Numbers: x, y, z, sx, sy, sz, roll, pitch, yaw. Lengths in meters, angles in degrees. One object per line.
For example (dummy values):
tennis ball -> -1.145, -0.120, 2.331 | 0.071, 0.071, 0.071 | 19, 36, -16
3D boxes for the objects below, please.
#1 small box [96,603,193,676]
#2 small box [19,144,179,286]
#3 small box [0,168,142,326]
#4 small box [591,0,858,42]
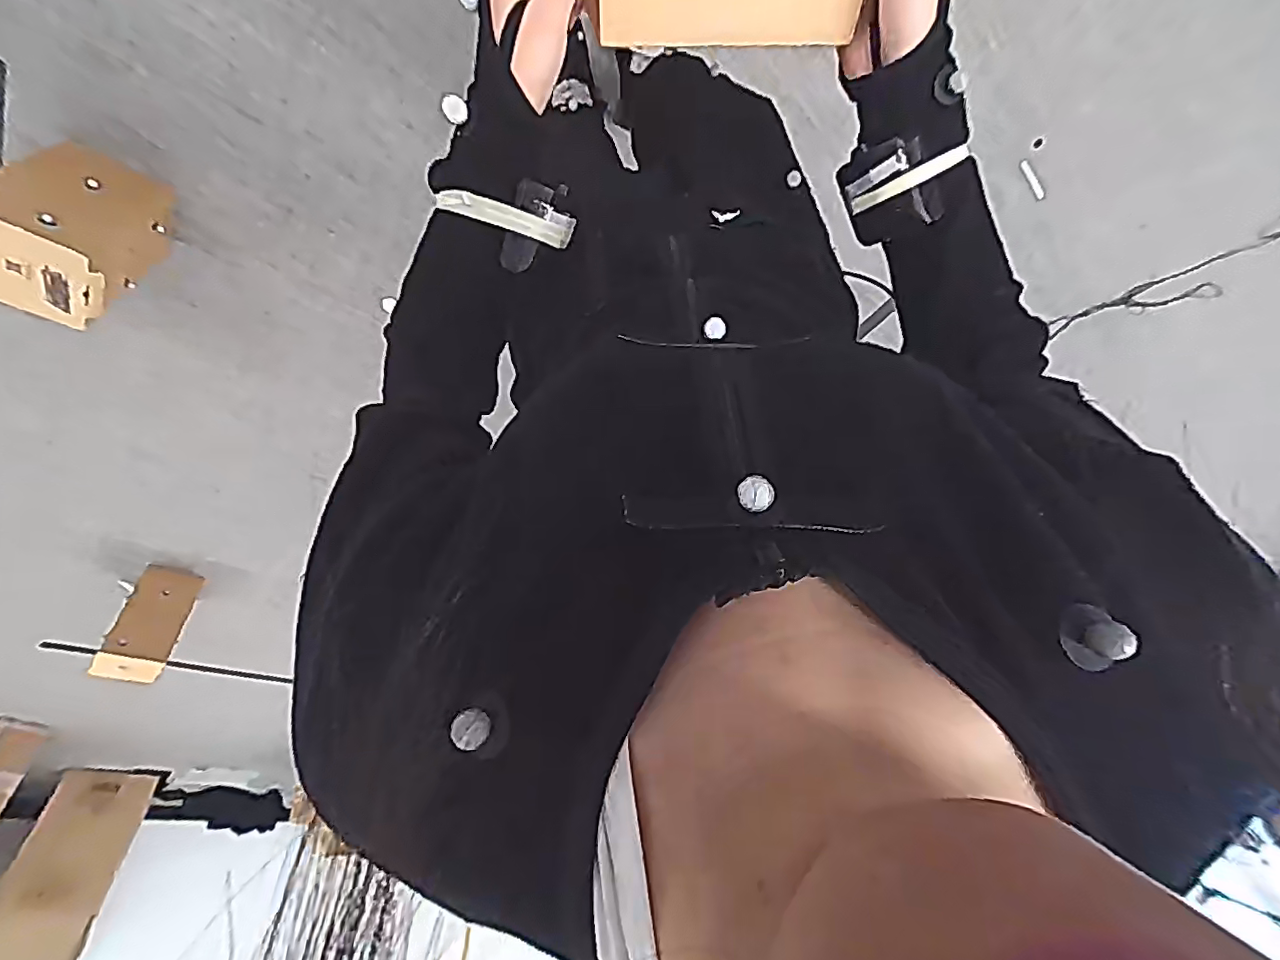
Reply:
small box -> -1.660, 0.533, 1.817 | 0.179, 0.176, 0.168 | 28, 125, -35
small box -> -1.065, -0.531, 1.078 | 0.179, 0.176, 0.168 | 22, 127, -29
small box -> -1.037, -0.416, 0.963 | 0.179, 0.176, 0.168 | 22, 127, -30
small box -> 0.048, -0.396, 0.329 | 0.168, 0.176, 0.179 | -5, 139, -6
